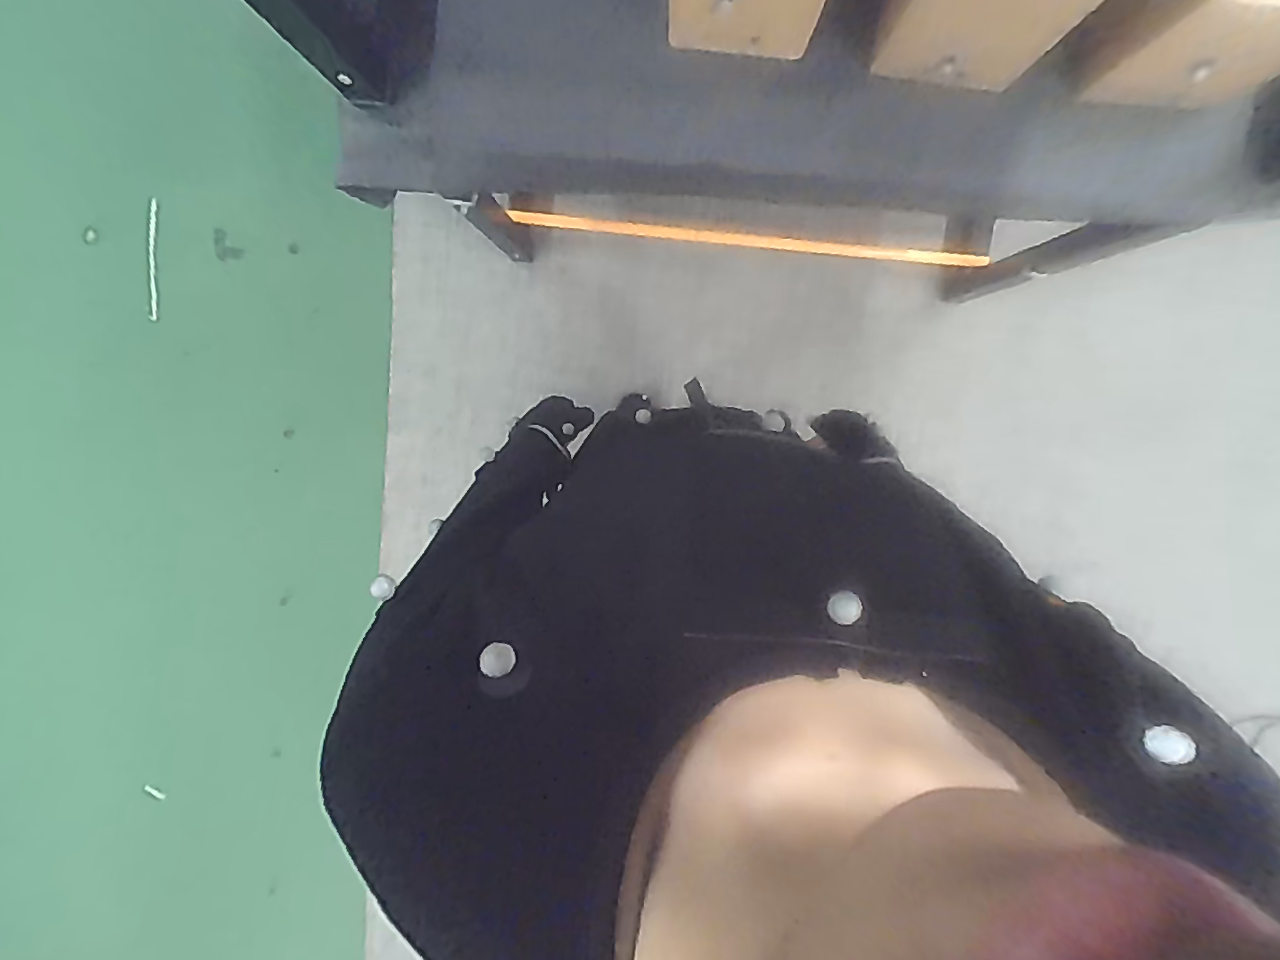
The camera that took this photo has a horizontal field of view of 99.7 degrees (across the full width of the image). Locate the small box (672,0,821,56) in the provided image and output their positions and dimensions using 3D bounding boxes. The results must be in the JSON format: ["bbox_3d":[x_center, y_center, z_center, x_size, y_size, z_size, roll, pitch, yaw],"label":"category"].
[{"bbox_3d":[0.124,-0.599,0.577,0.168,0.176,0.179,7,98,1],"label":"small box"}]

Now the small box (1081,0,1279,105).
[{"bbox_3d":[0.612,-0.529,0.563,0.168,0.176,0.179,6,98,1],"label":"small box"}]
